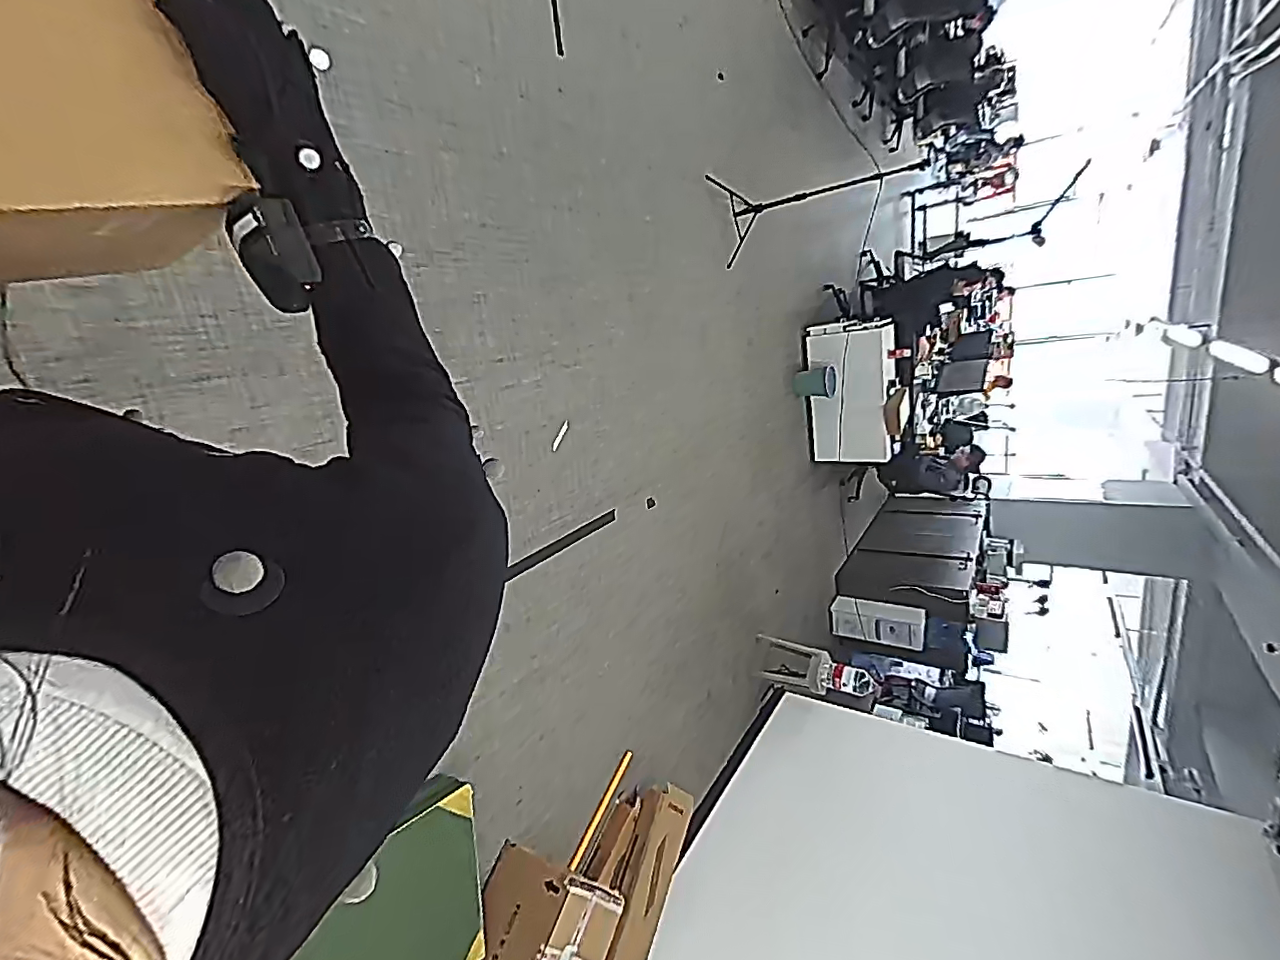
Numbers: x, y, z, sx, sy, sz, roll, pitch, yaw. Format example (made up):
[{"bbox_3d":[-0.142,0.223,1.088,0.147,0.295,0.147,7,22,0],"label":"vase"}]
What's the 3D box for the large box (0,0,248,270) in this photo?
[{"bbox_3d":[-0.537,-0.280,0.282,0.408,0.320,0.320,-33,122,-44],"label":"large box"}]
